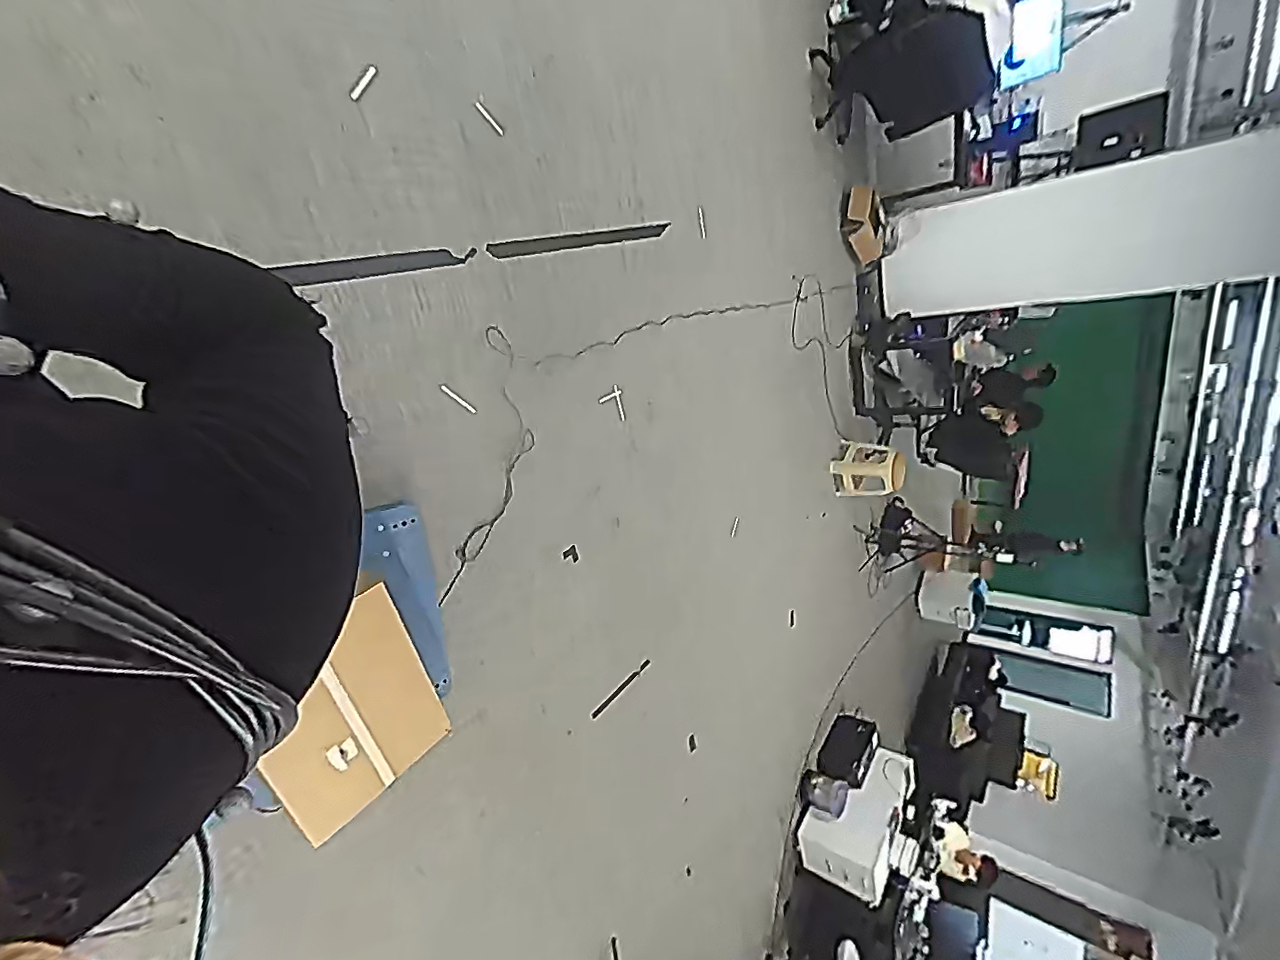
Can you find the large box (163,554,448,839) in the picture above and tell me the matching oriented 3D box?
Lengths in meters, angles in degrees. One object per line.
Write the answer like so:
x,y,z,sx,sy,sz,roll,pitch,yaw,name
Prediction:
-0.678,0.419,1.126,0.320,0.320,0.408,-35,121,-42,large box
